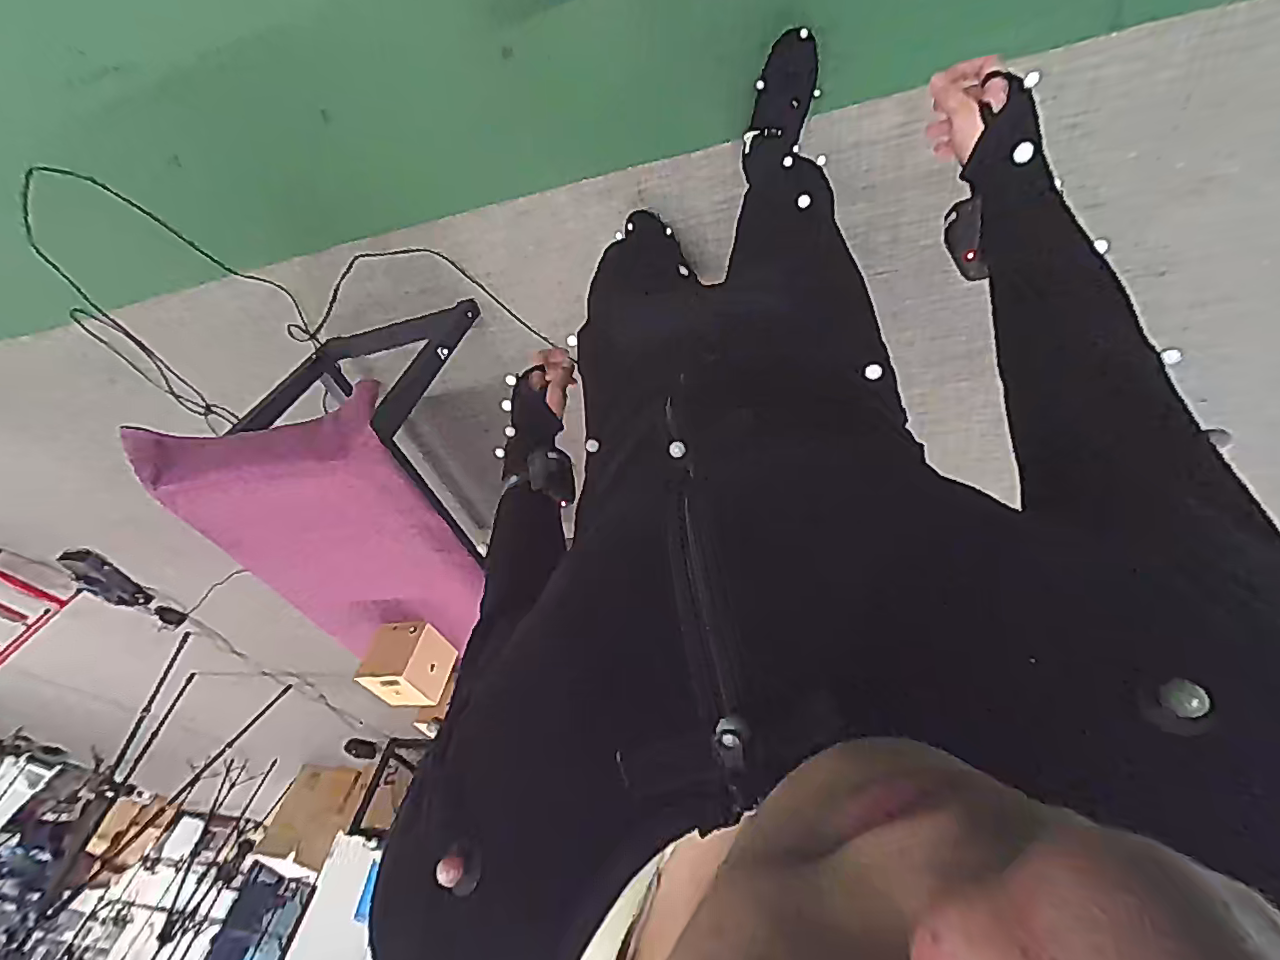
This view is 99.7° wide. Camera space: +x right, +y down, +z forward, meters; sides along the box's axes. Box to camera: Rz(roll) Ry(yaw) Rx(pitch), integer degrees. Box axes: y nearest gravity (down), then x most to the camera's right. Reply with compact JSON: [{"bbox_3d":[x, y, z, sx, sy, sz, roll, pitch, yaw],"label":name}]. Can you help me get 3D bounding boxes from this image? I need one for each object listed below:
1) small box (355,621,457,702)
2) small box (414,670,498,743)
[{"bbox_3d":[-0.658,0.514,1.541,0.168,0.176,0.179,-7,133,18],"label":"small box"},{"bbox_3d":[-0.575,0.721,1.728,0.179,0.176,0.168,-8,131,18],"label":"small box"}]
